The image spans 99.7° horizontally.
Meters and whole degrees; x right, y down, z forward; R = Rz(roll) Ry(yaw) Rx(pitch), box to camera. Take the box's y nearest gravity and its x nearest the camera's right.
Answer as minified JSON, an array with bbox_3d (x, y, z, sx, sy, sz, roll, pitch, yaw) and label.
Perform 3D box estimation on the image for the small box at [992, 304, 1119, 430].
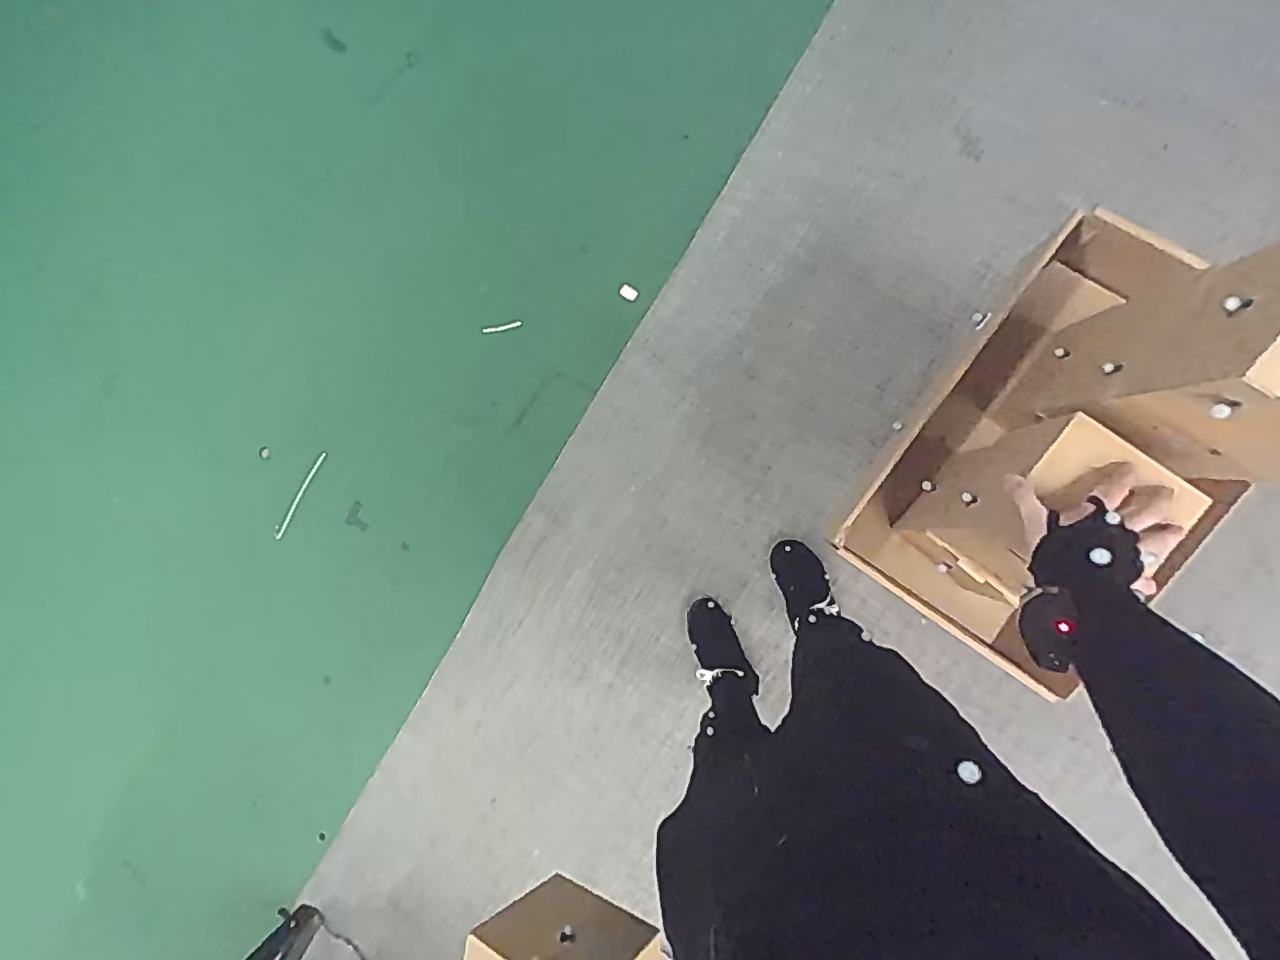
[{"bbox_3d":[0.685,-0.131,0.821,0.168,0.176,0.179,36,99,9],"label":"small box"}]

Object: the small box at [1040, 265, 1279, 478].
[{"bbox_3d":[0.649,-0.123,0.663,0.168,0.176,0.179,35,100,8],"label":"small box"}]

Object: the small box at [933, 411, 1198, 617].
[{"bbox_3d":[0.510,0.042,0.687,0.168,0.176,0.179,39,91,7],"label":"small box"}]

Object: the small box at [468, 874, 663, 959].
[{"bbox_3d":[-0.094,0.623,0.656,0.179,0.176,0.168,3,82,31],"label":"small box"}]
